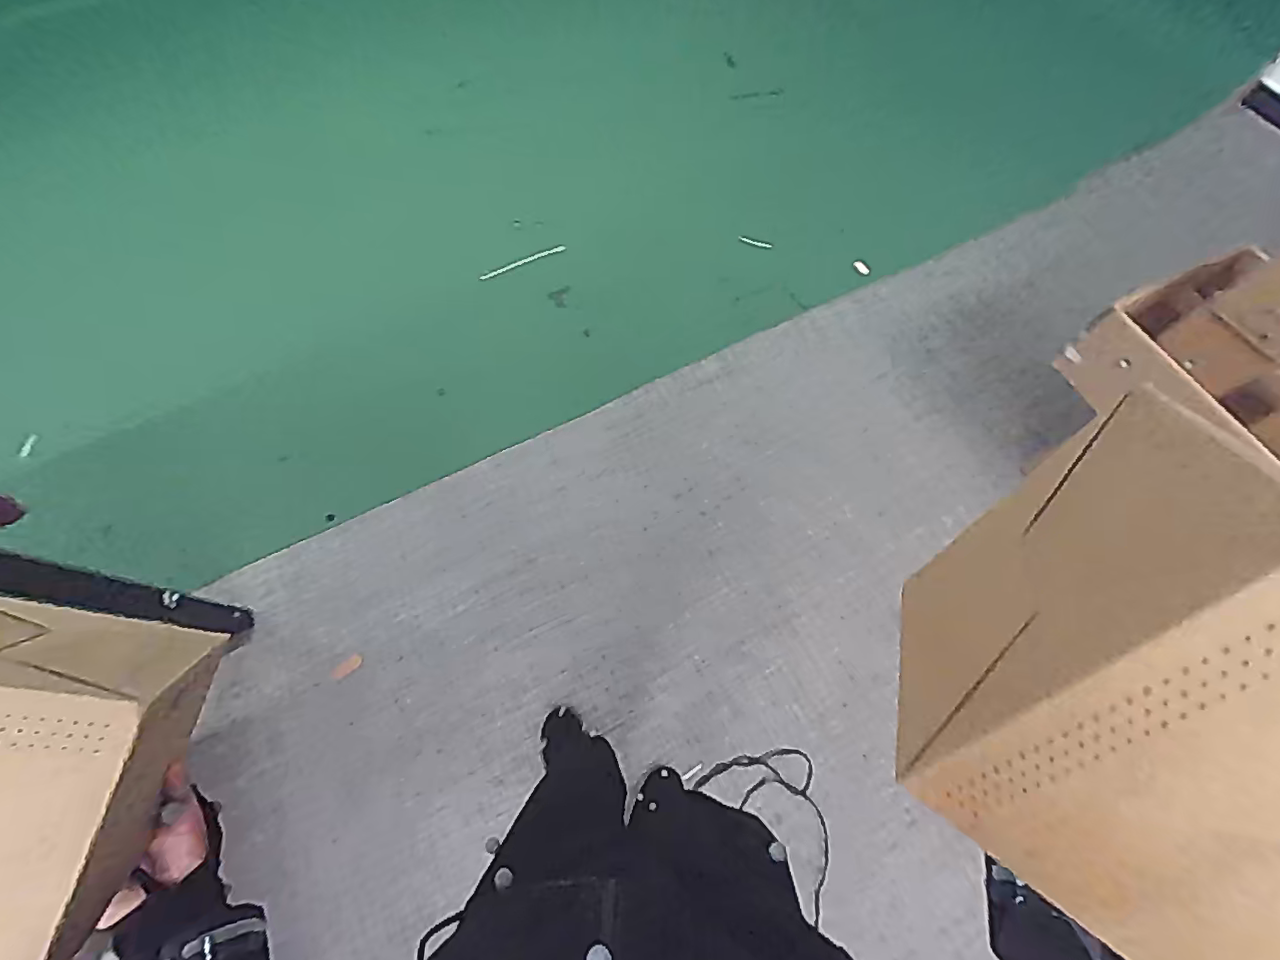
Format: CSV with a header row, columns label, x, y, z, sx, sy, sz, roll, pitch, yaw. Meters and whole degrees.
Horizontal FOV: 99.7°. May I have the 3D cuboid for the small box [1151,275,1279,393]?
label,x,y,z,sx,sy,sz,roll,pitch,yaw
small box,1.223,-0.310,1.102,0.179,0.176,0.168,-29,69,-9

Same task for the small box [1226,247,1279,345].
label,x,y,z,sx,sy,sz,roll,pitch,yaw
small box,1.208,-0.358,0.945,0.179,0.176,0.168,-29,70,-9

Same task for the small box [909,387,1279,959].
label,x,y,z,sx,sy,sz,roll,pitch,yaw
small box,0.245,0.088,0.242,0.176,0.179,0.168,37,35,8
